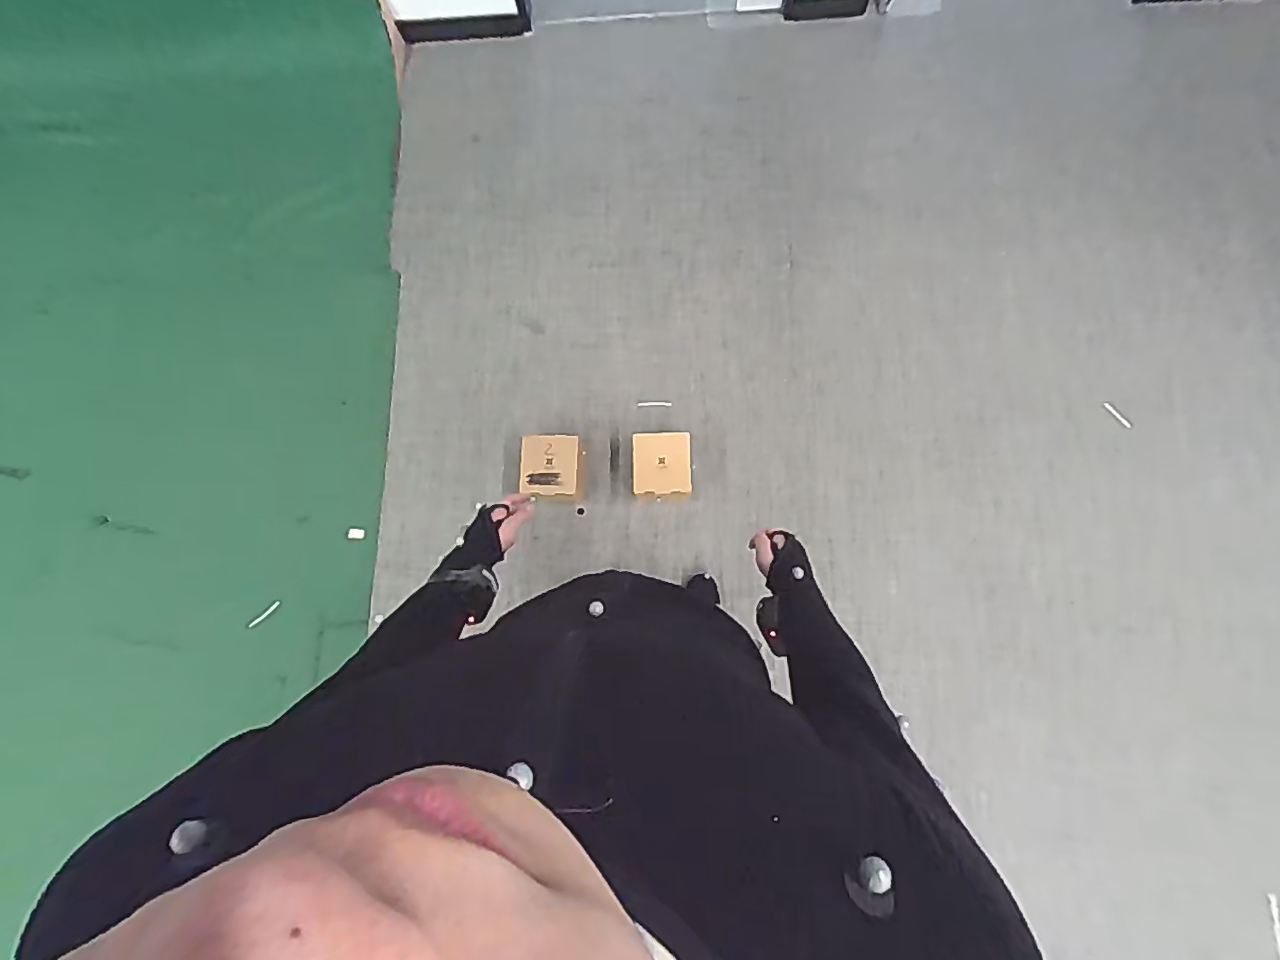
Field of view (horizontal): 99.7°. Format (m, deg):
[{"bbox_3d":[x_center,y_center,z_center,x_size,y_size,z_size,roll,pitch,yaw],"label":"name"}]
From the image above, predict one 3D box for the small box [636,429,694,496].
[{"bbox_3d":[0.074,-0.049,1.621,0.168,0.176,0.179,-1,82,4],"label":"small box"}]
